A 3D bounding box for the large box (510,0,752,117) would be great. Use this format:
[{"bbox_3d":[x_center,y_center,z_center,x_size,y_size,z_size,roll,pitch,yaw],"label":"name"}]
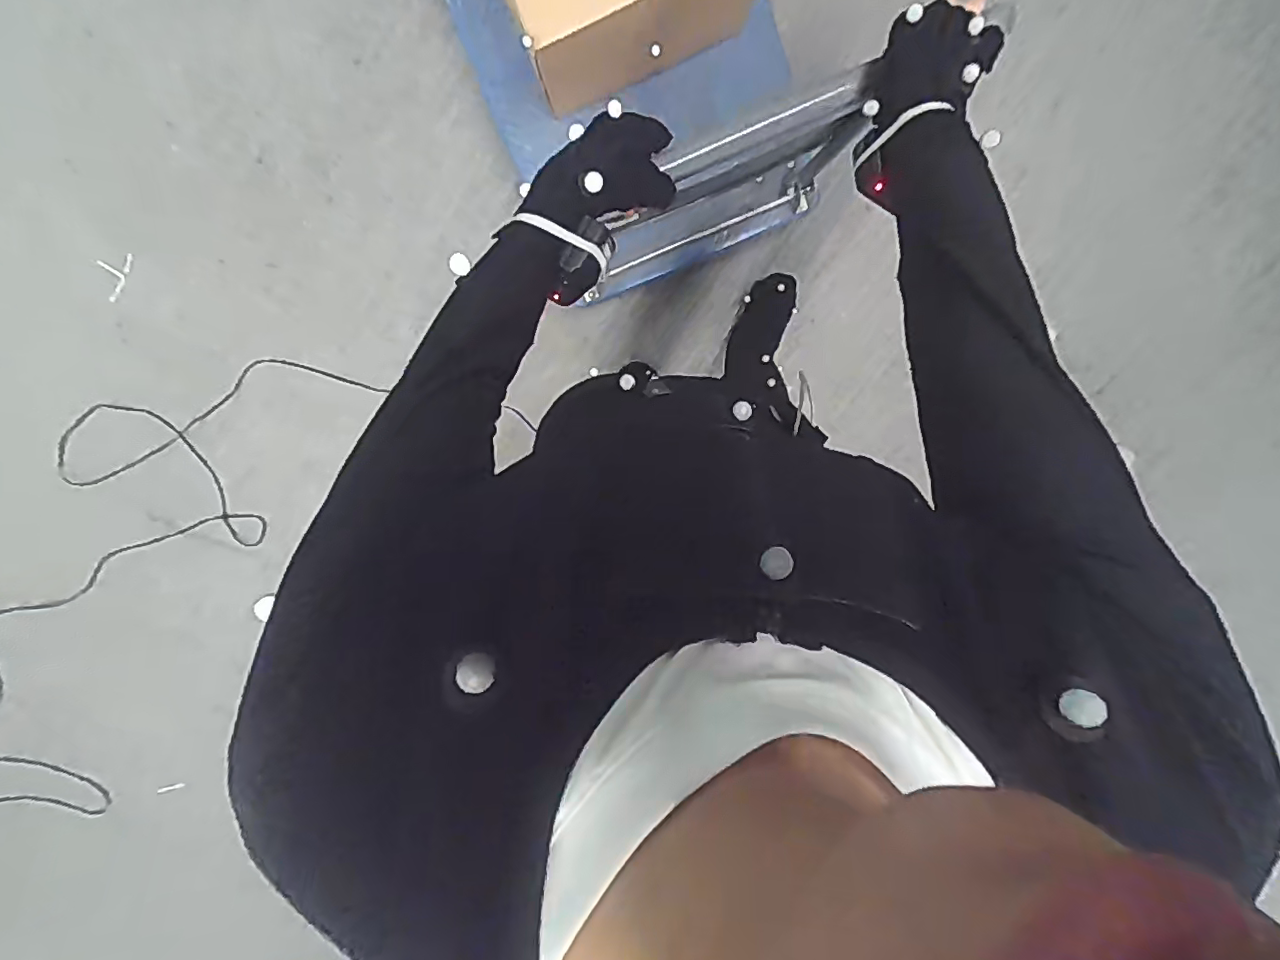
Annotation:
[{"bbox_3d":[-0.034,-0.891,0.888,0.408,0.320,0.320,-23,106,5],"label":"large box"}]
